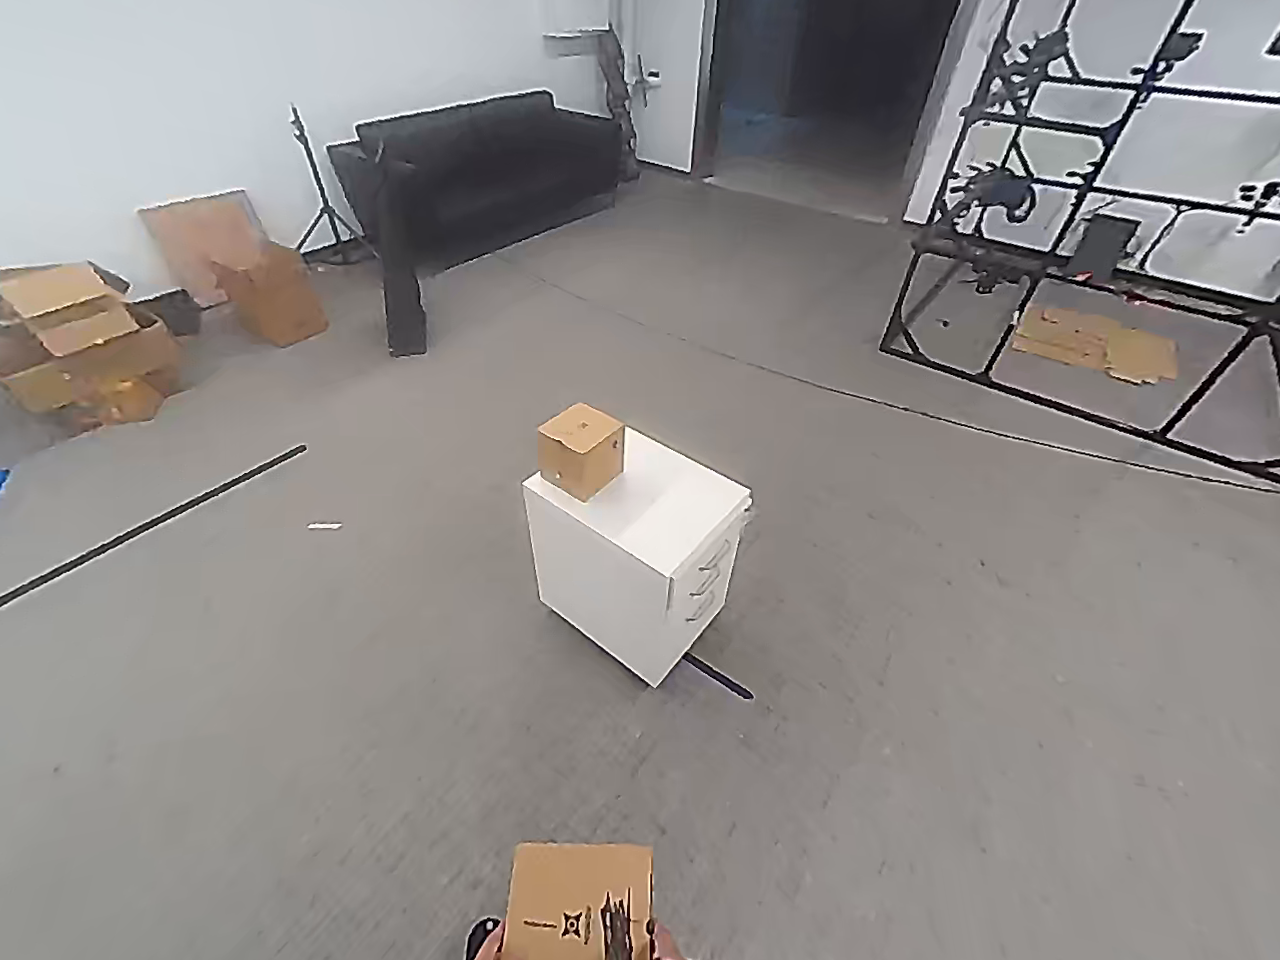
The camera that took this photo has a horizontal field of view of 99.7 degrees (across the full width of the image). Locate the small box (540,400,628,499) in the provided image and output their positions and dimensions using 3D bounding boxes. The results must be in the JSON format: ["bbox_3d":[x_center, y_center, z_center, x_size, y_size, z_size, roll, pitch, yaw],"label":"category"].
[{"bbox_3d":[-0.152,-0.083,1.472,0.168,0.176,0.179,29,49,25],"label":"small box"}]

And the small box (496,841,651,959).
[{"bbox_3d":[-0.077,0.574,0.689,0.179,0.176,0.168,1,47,0],"label":"small box"}]
